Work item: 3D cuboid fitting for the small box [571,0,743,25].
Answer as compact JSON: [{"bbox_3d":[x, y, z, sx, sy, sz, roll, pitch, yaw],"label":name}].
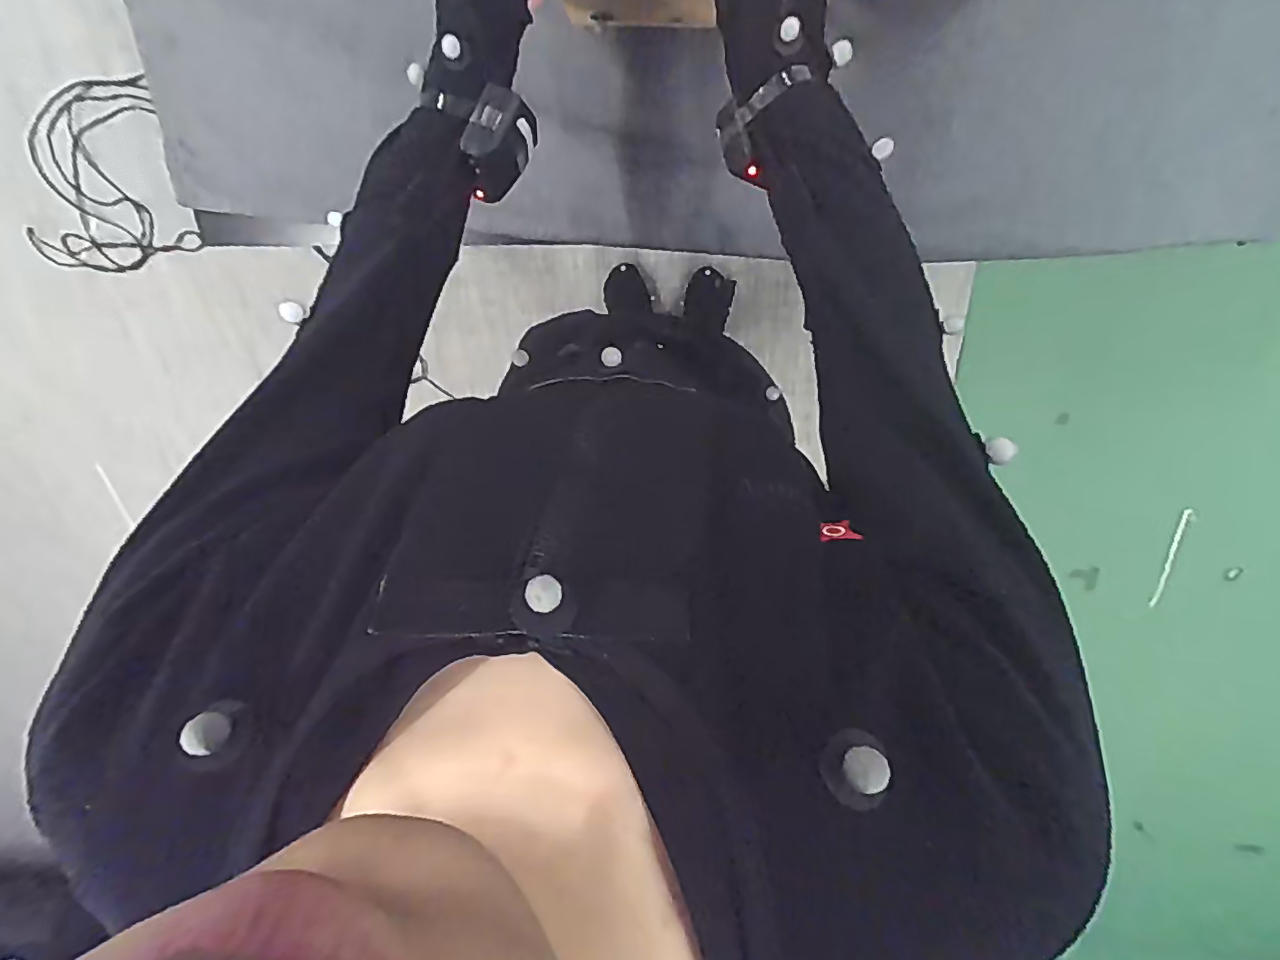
[{"bbox_3d":[0.012,-0.499,0.435,0.168,0.176,0.179,4,114,4],"label":"small box"}]
